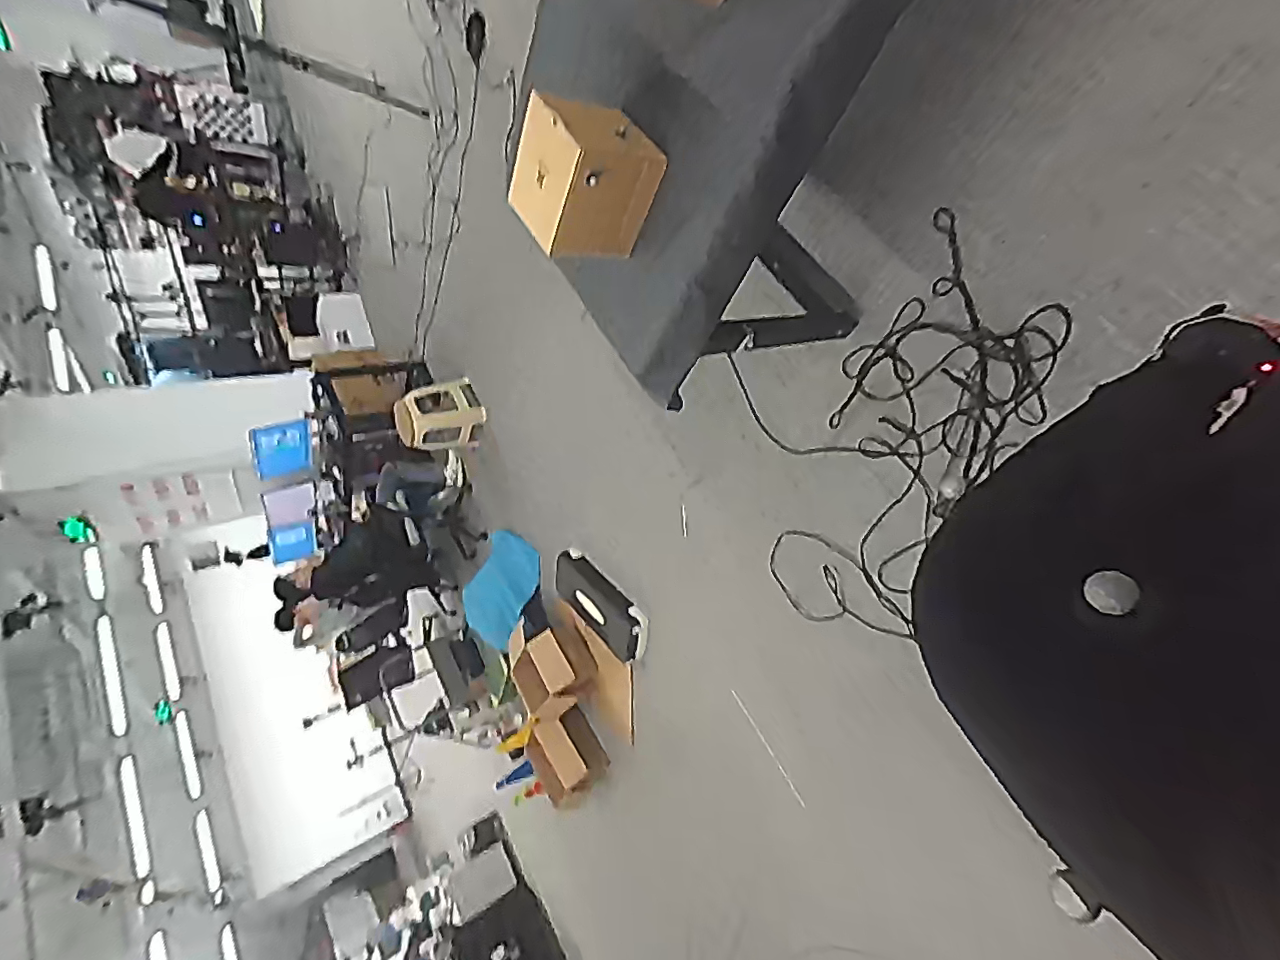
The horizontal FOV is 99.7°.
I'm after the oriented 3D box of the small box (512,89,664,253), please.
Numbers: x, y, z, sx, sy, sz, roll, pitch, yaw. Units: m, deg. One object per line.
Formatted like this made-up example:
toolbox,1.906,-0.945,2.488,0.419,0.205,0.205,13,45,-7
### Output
small box,-0.088,-0.498,0.896,0.168,0.176,0.179,56,140,23
